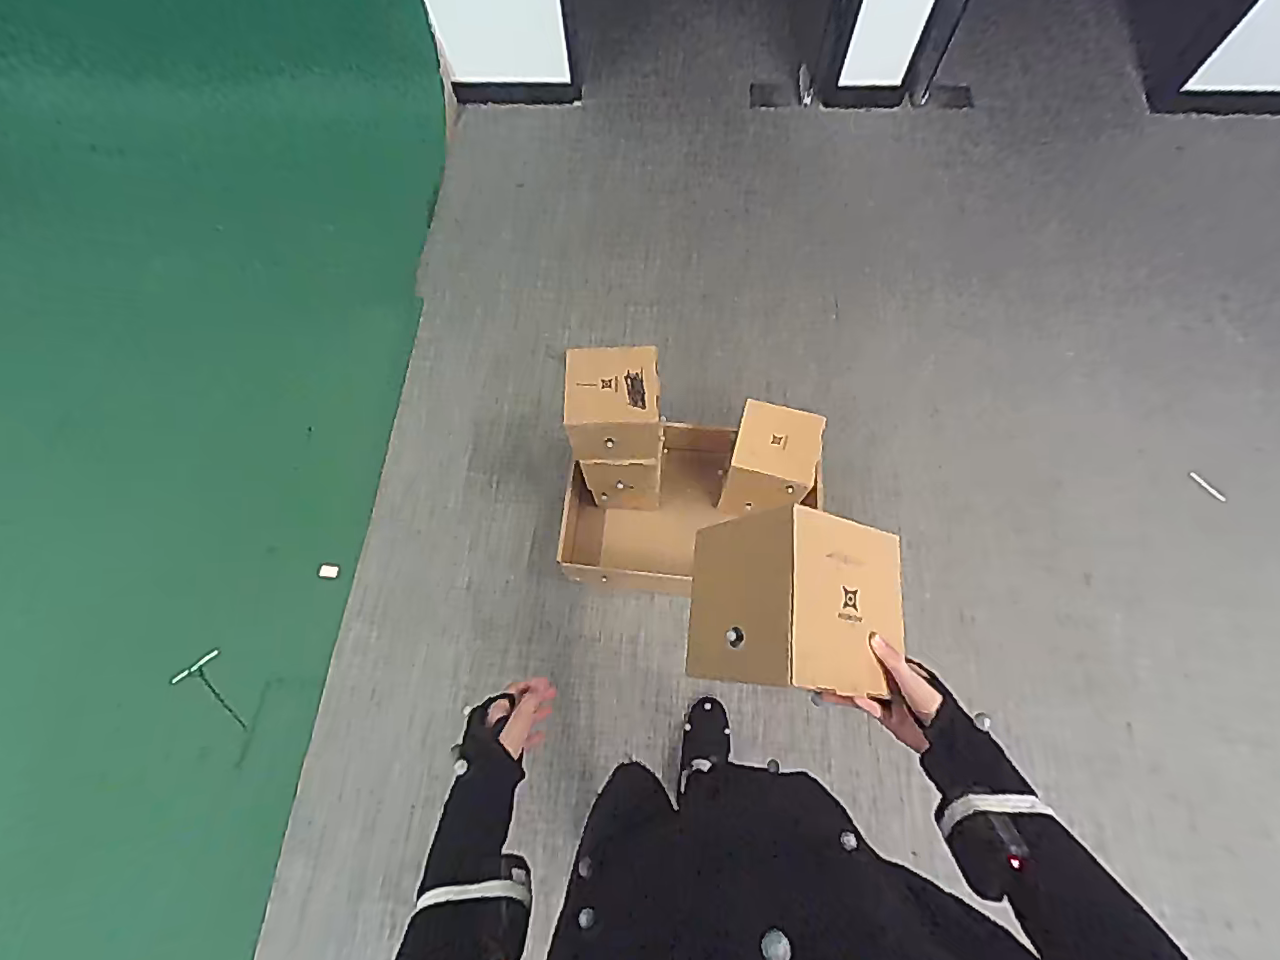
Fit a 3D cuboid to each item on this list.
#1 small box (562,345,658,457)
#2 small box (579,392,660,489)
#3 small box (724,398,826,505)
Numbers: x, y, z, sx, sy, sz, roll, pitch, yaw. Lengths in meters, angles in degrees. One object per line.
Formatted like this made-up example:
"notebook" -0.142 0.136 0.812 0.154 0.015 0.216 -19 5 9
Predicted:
"small box" -0.052 -0.153 1.082 0.179 0.176 0.168 -1 69 3
"small box" -0.040 -0.091 1.234 0.168 0.176 0.179 2 70 3
"small box" 0.295 -0.057 1.213 0.179 0.176 0.168 15 72 7
